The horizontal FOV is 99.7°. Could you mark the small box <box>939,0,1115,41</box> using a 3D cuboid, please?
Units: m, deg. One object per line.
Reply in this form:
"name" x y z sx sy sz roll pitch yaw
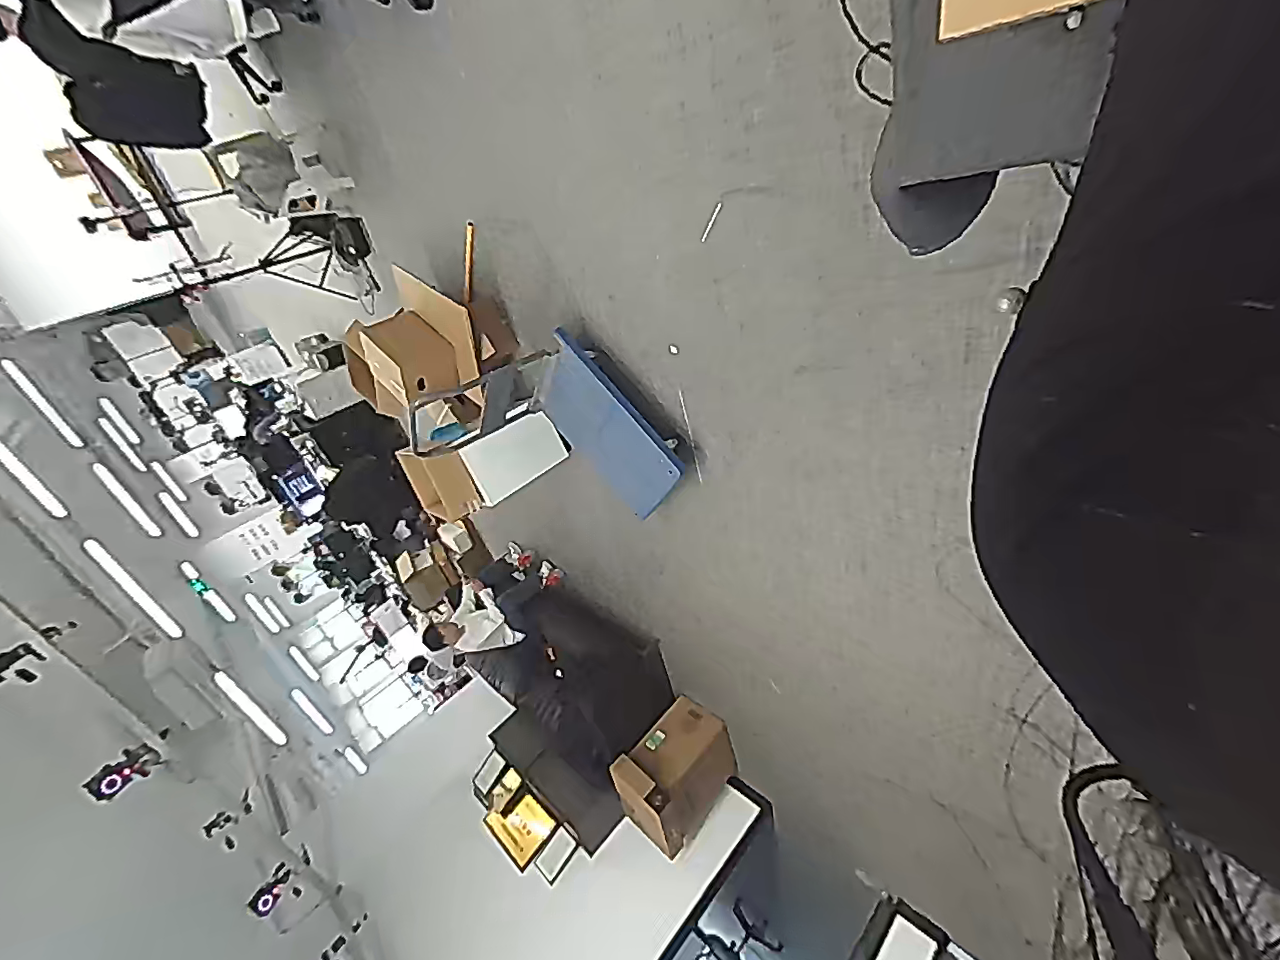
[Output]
"small box" 0.348 -0.453 0.394 0.179 0.176 0.168 20 135 43
